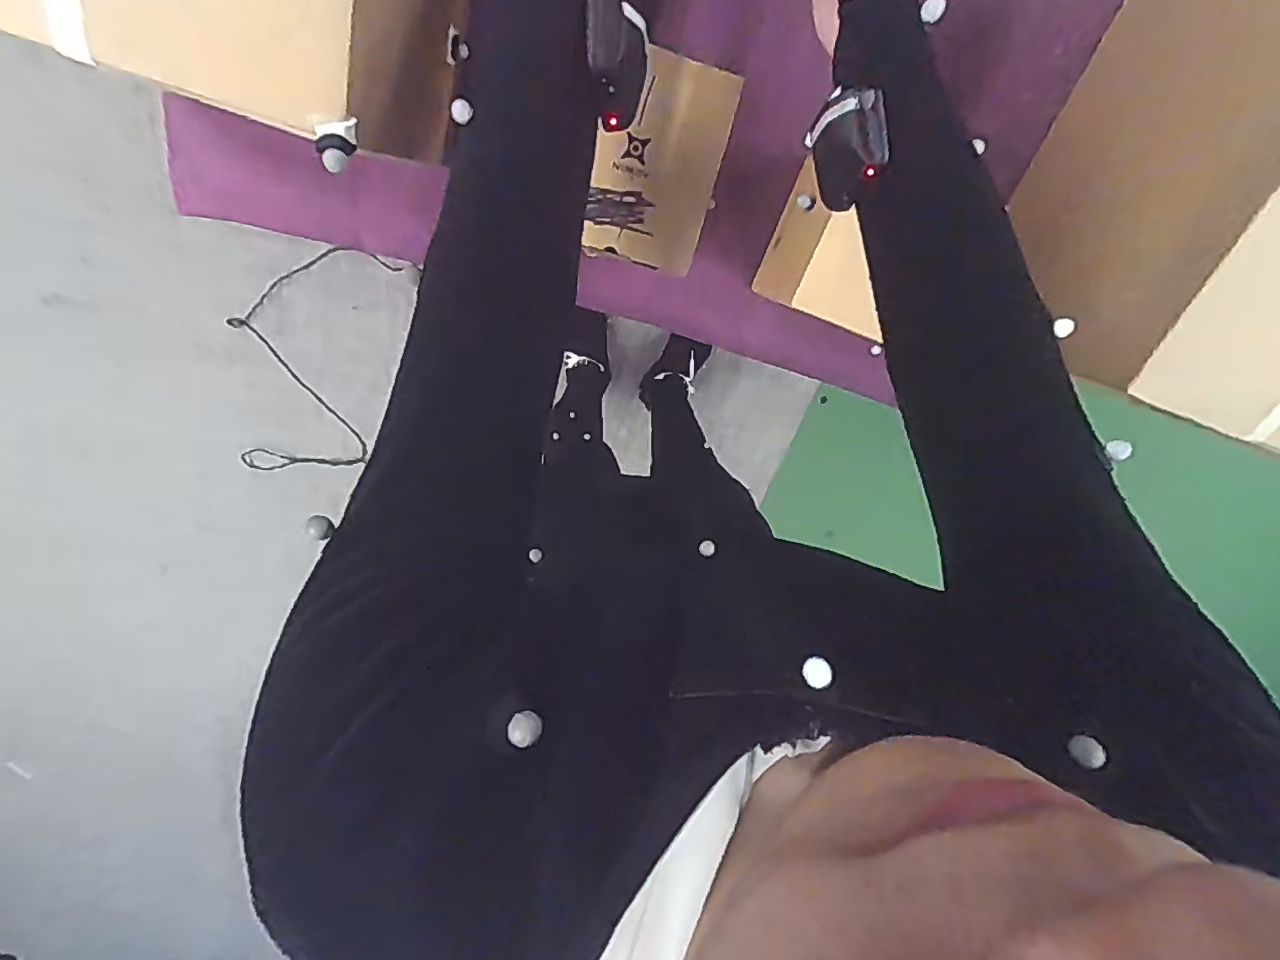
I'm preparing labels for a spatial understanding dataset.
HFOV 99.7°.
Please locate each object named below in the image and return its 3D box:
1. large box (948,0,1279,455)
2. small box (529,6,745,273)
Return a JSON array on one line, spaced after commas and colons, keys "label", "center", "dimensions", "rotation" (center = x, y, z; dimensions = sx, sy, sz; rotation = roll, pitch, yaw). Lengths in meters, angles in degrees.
[{"label": "large box", "center": [0.638, -0.281, 0.574], "dimensions": [0.320, 0.320, 0.408], "rotation": [16, 116, -11]}, {"label": "small box", "center": [-0.012, -0.336, 0.567], "dimensions": [0.168, 0.176, 0.179], "rotation": [12, 115, -11]}]
